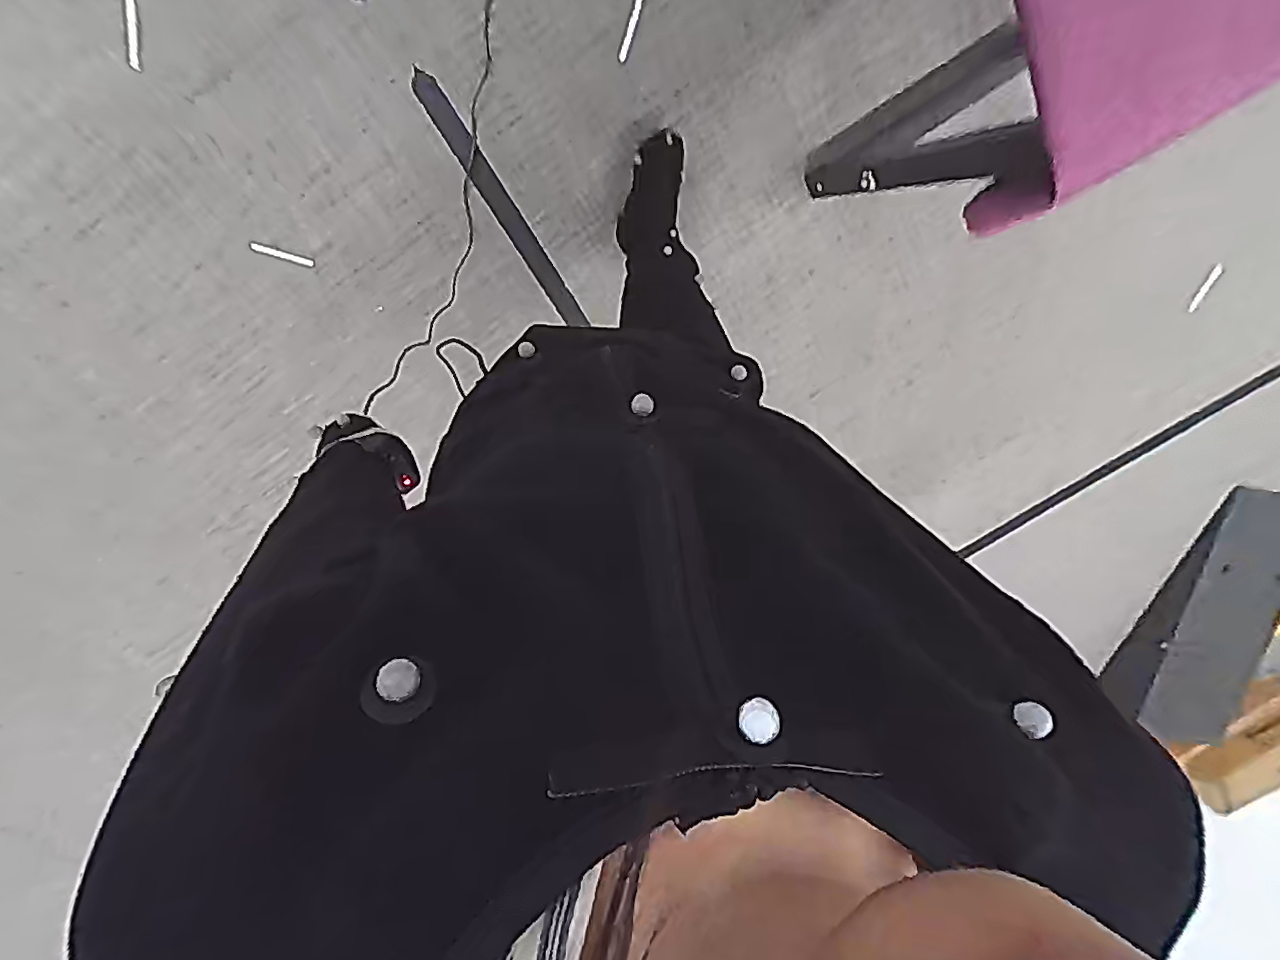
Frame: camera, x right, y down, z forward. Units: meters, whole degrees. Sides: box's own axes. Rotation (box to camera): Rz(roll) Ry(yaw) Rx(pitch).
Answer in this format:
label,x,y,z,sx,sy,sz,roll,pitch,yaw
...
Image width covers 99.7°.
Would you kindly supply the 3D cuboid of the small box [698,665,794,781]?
label,x,y,z,sx,sy,sz,roll,pitch,yaw
small box,0.256,0.606,1.360,0.179,0.176,0.168,-27,116,6
